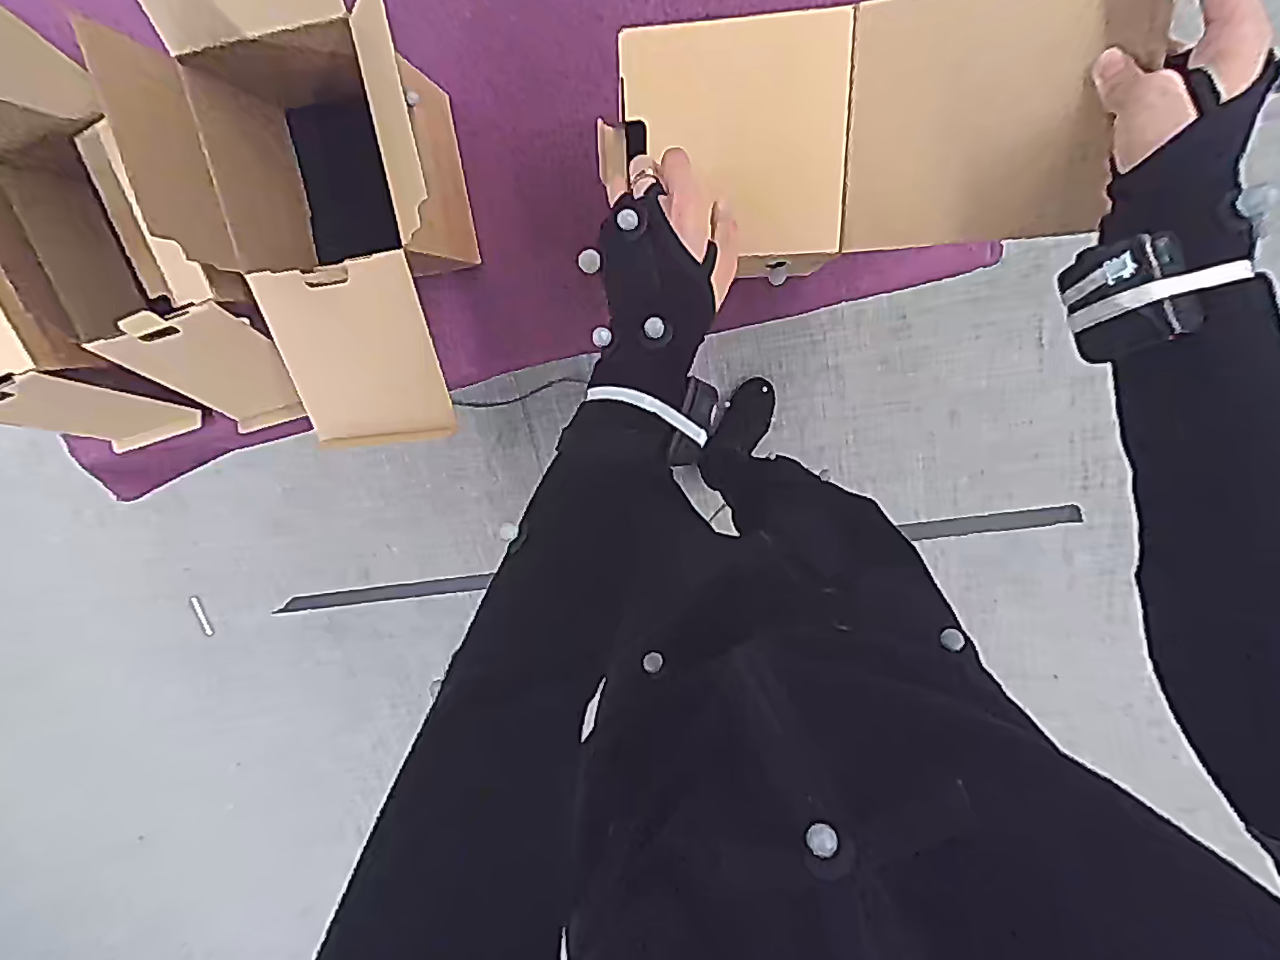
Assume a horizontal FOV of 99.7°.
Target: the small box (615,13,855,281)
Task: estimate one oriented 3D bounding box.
[{"bbox_3d":[0.077,-0.276,0.489,0.179,0.176,0.168,2,105,8],"label":"small box"}]
